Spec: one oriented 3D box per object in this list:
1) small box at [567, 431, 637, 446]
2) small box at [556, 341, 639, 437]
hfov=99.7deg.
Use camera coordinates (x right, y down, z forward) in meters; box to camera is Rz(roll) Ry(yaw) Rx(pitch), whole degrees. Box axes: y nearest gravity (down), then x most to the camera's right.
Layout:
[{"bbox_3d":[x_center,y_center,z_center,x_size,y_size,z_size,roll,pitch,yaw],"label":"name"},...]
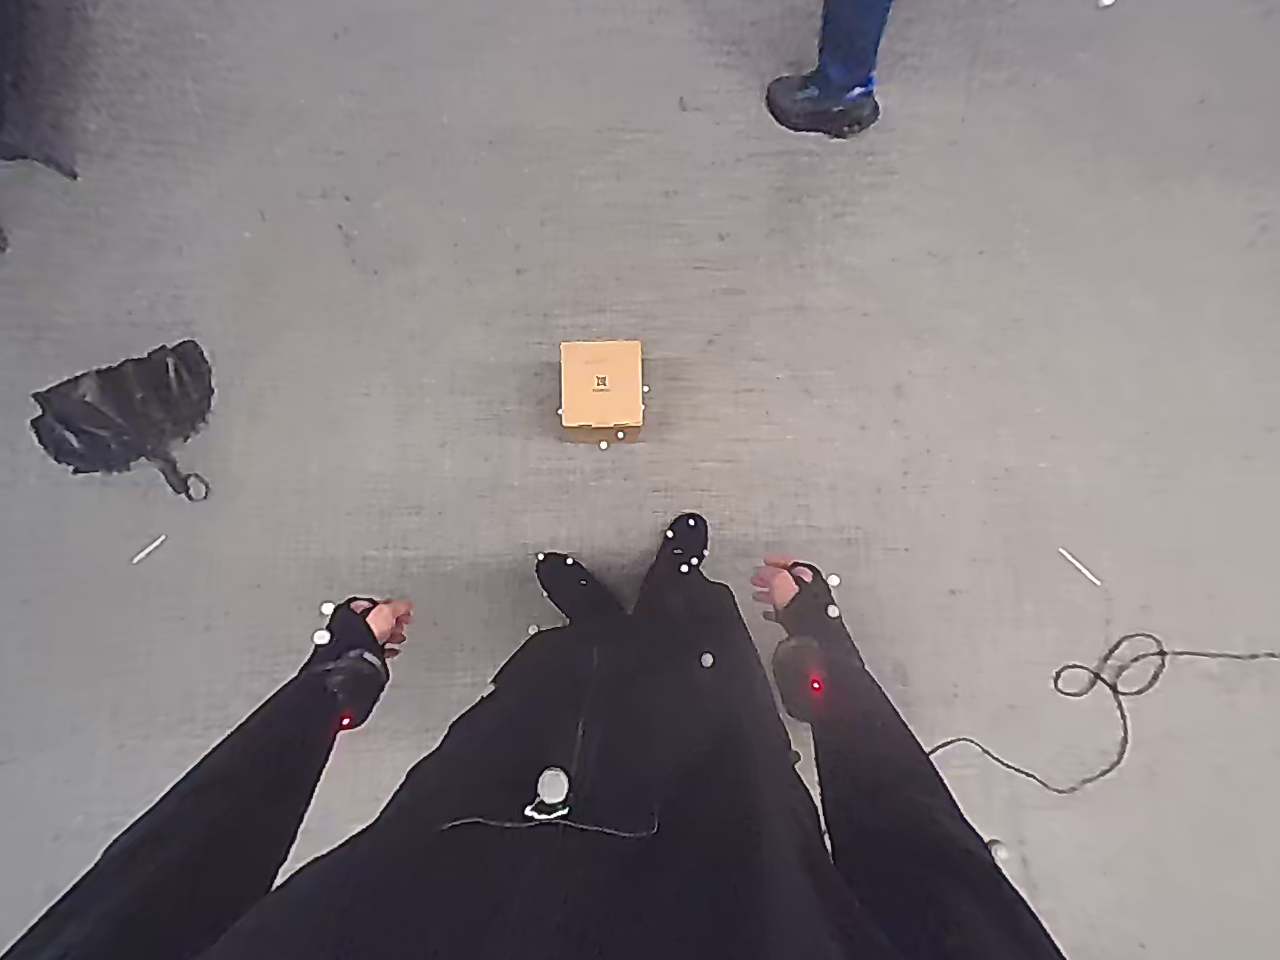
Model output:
[{"bbox_3d":[-0.093,-0.181,1.332,0.168,0.176,0.179,-2,88,-1],"label":"small box"},{"bbox_3d":[-0.088,-0.188,1.170,0.168,0.176,0.179,-3,86,-3],"label":"small box"}]
